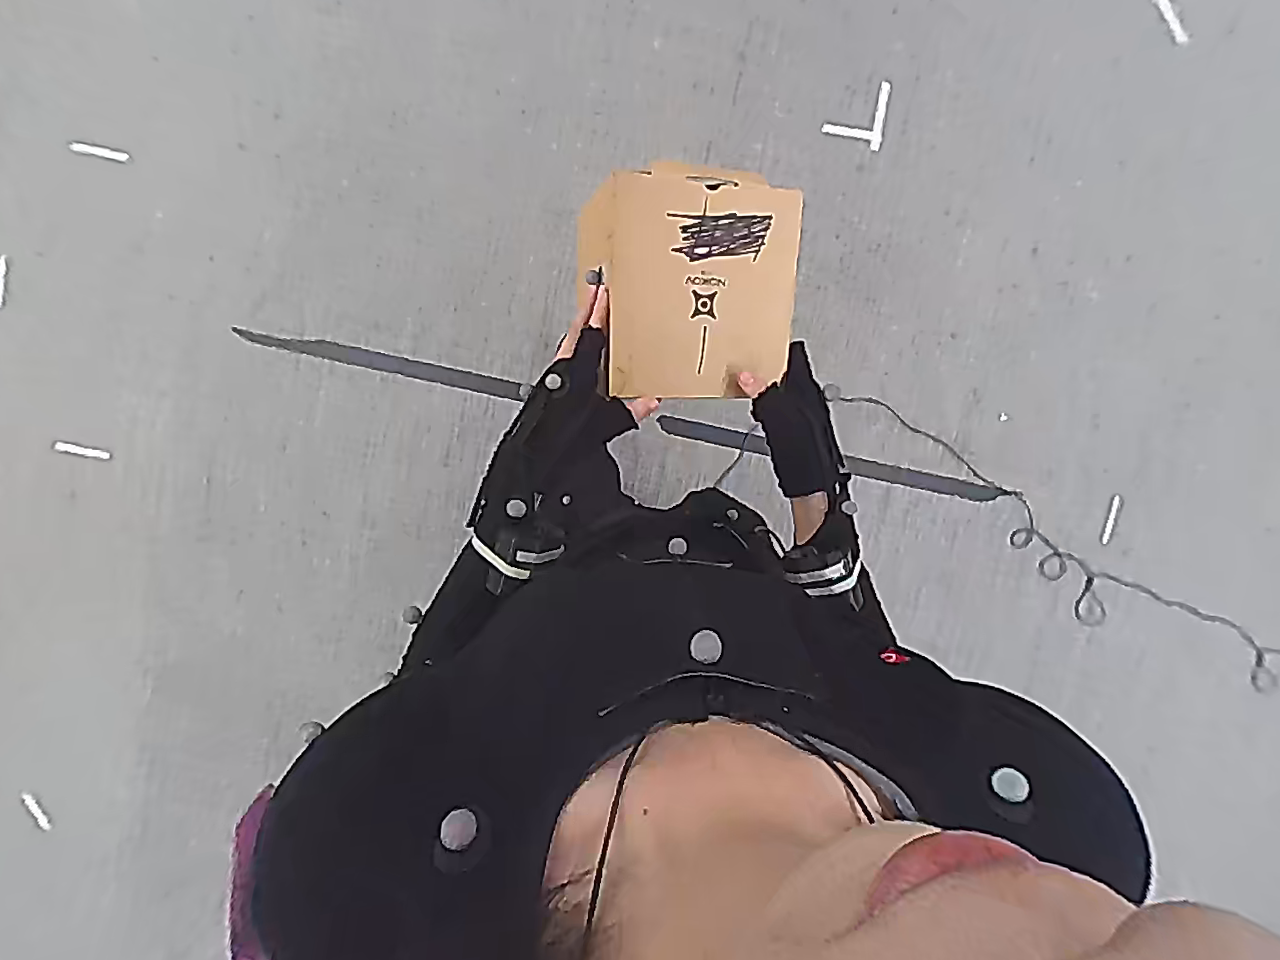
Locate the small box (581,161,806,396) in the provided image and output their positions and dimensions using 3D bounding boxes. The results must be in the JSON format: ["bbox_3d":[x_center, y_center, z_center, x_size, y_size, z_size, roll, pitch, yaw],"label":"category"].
[{"bbox_3d":[0.036,-0.178,0.524,0.168,0.176,0.179,-1,104,-15],"label":"small box"}]
